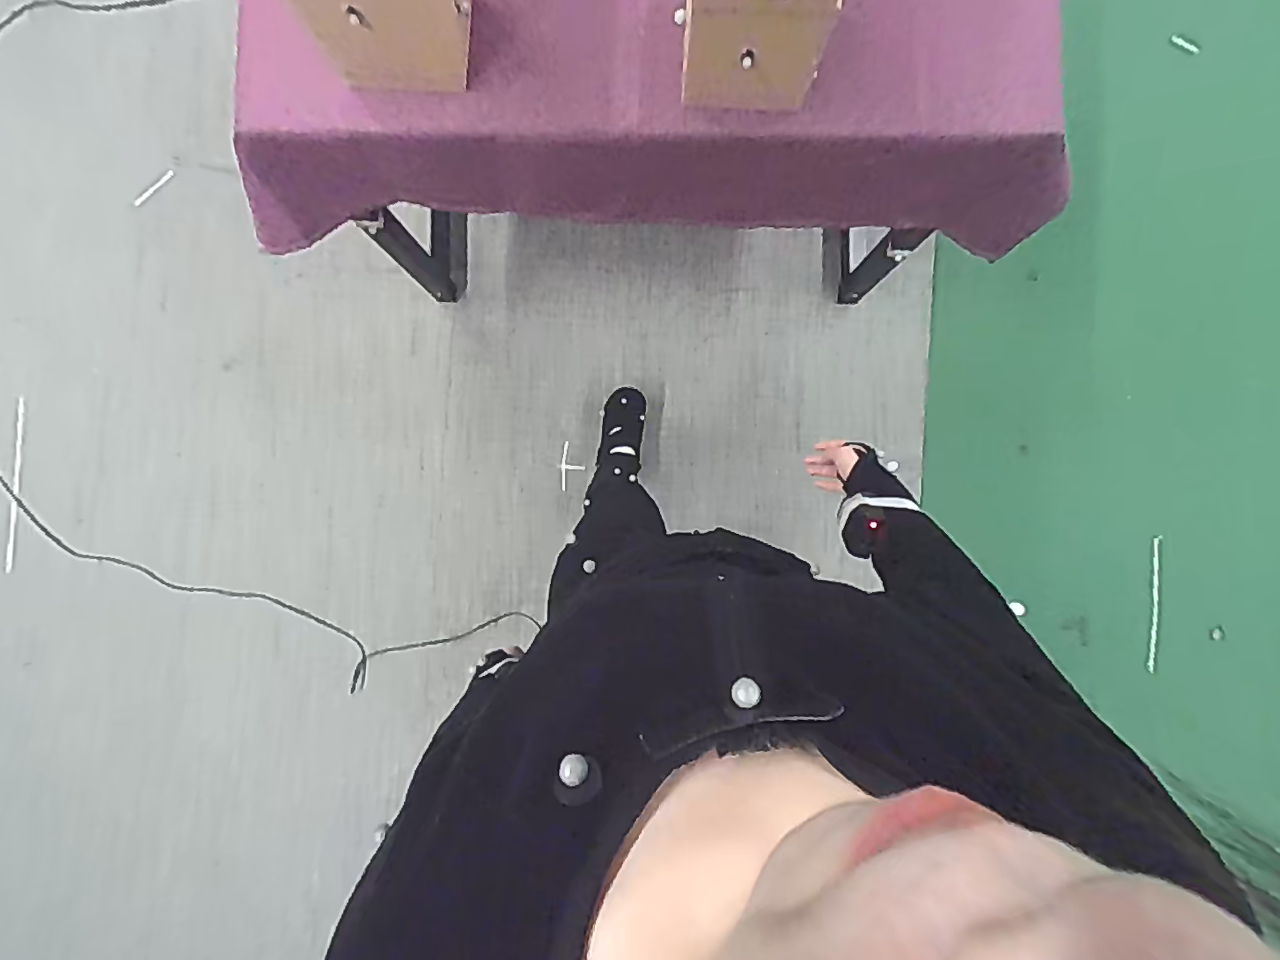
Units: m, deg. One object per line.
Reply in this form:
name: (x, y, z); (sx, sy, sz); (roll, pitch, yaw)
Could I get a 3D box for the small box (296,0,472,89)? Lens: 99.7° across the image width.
small box: (-0.337, -0.652, 0.705); (0.179, 0.176, 0.168); (4, 89, 0)

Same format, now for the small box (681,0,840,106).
small box: (0.149, -0.623, 0.703); (0.179, 0.176, 0.168); (3, 88, 2)
